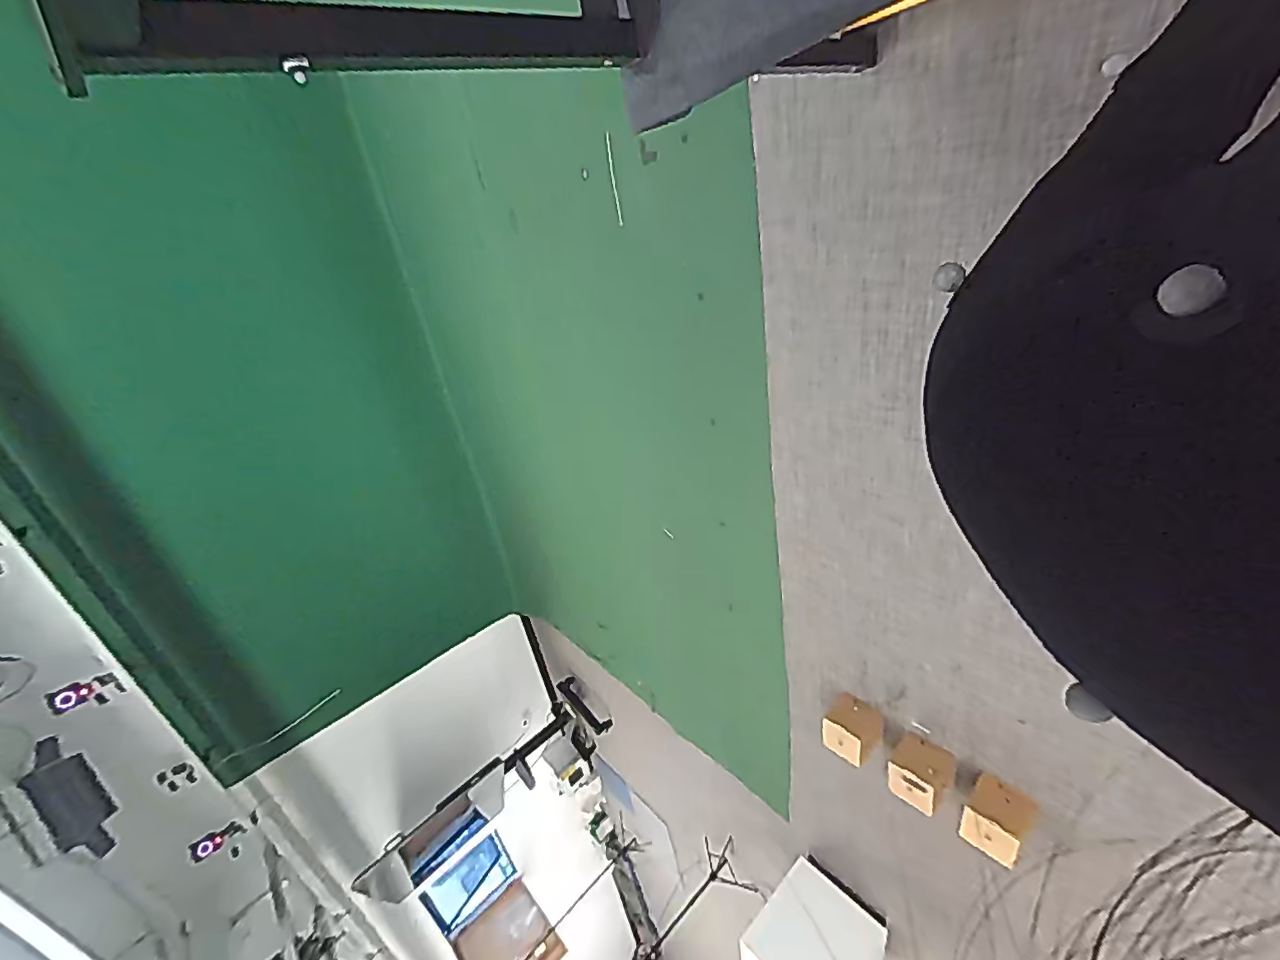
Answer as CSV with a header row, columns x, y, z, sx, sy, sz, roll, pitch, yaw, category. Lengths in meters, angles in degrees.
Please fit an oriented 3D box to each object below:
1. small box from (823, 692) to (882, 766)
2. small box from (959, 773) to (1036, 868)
x,y,z,sx,sy,sz,roll,pitch,yaw,category
0.875,1.019,2.223,0.168,0.176,0.179,22,130,45,small box
1.219,1.155,1.843,0.168,0.176,0.179,22,130,45,small box
